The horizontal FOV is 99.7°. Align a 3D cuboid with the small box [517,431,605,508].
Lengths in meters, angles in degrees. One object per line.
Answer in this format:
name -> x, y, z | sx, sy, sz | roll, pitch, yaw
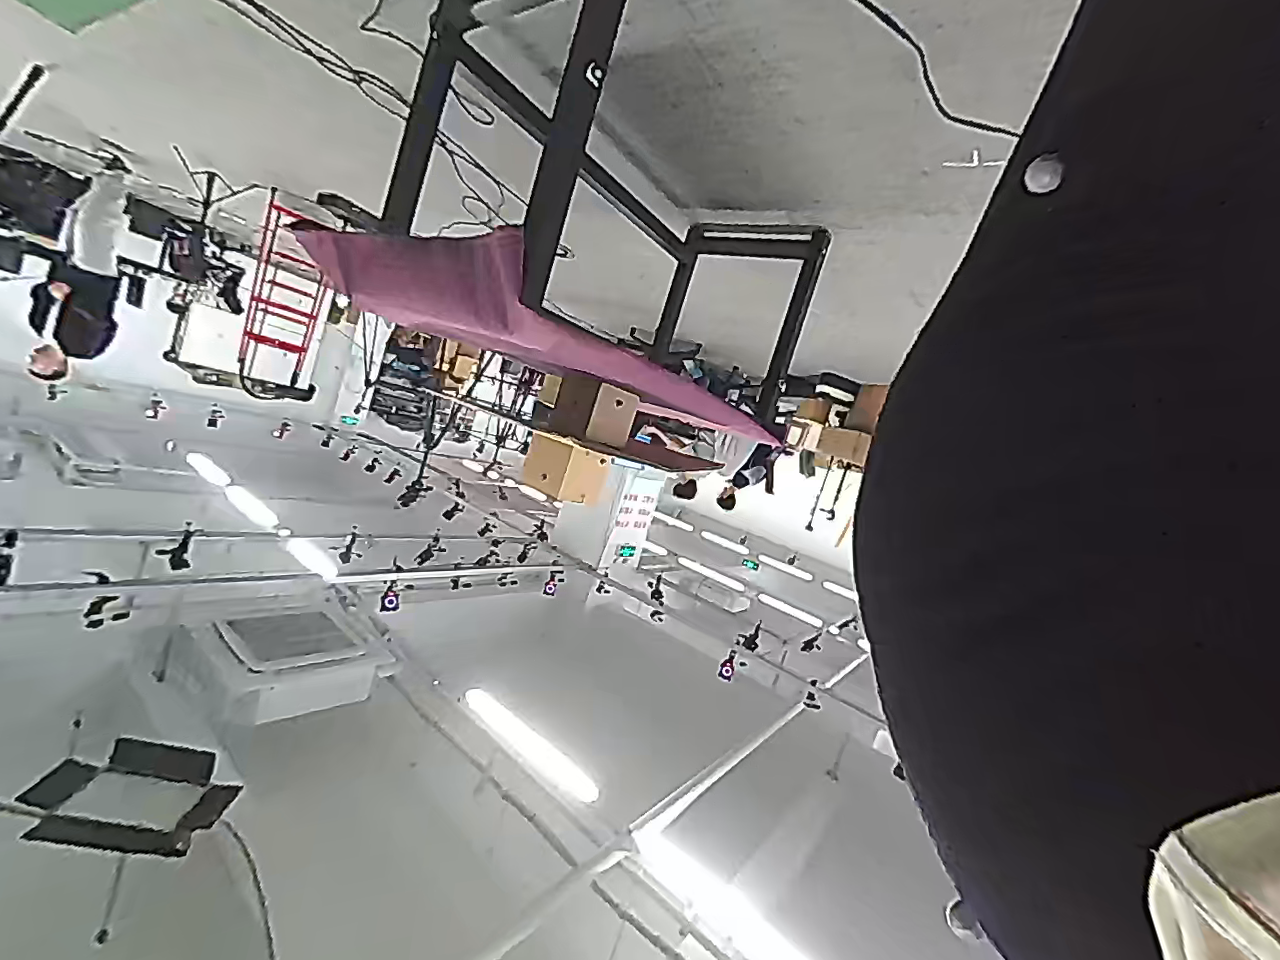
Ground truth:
small box -> -0.221, -0.033, 1.563 | 0.179, 0.176, 0.168 | 22, -176, 37
